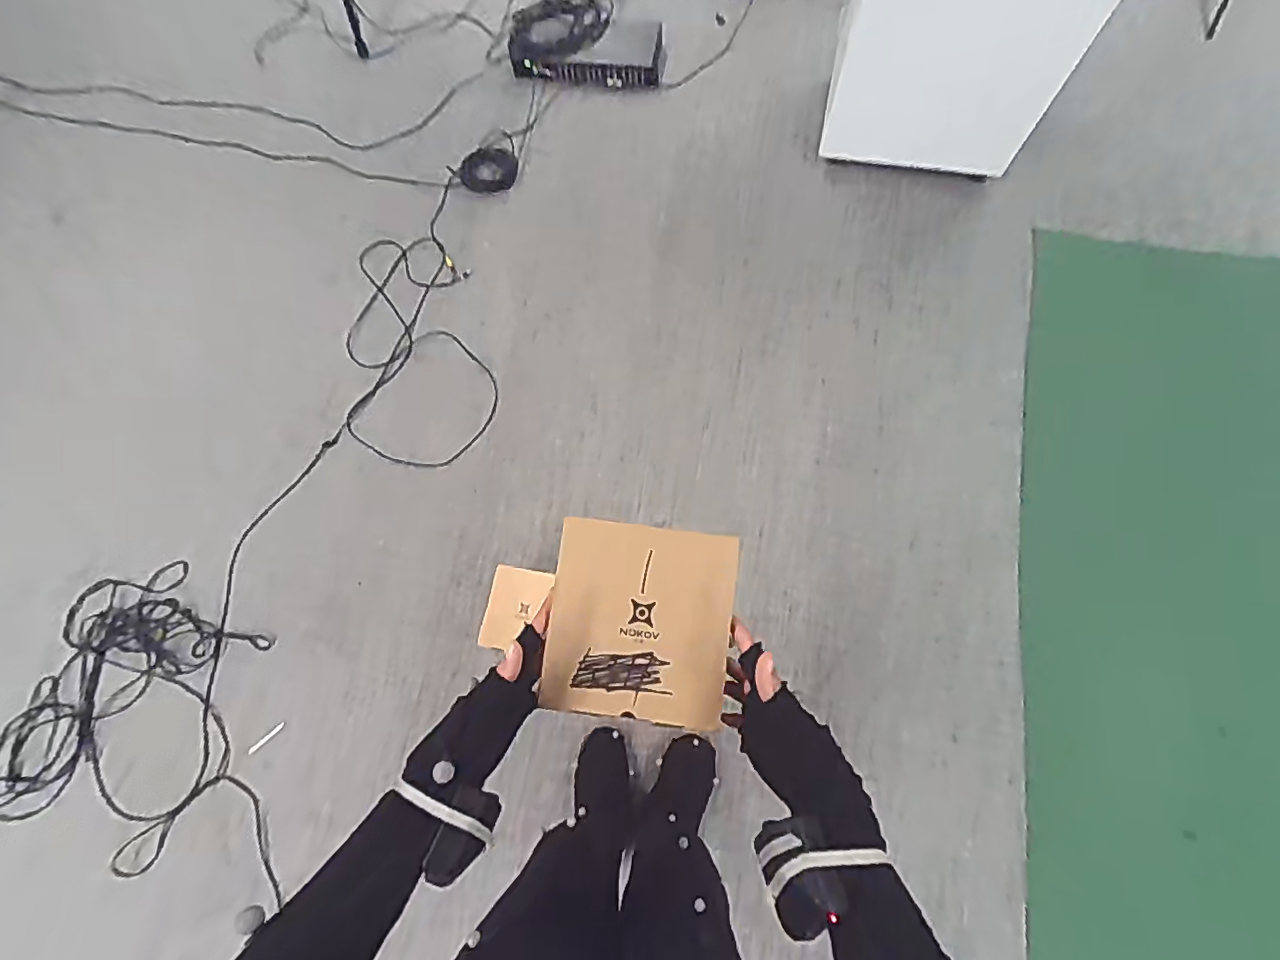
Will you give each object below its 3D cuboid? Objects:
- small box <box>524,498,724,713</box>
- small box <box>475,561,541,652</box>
[{"bbox_3d":[-0.010,0.121,0.574,0.168,0.176,0.179,8,84,3],"label":"small box"},{"bbox_3d":[-0.249,0.295,1.229,0.168,0.176,0.179,9,74,7],"label":"small box"}]
